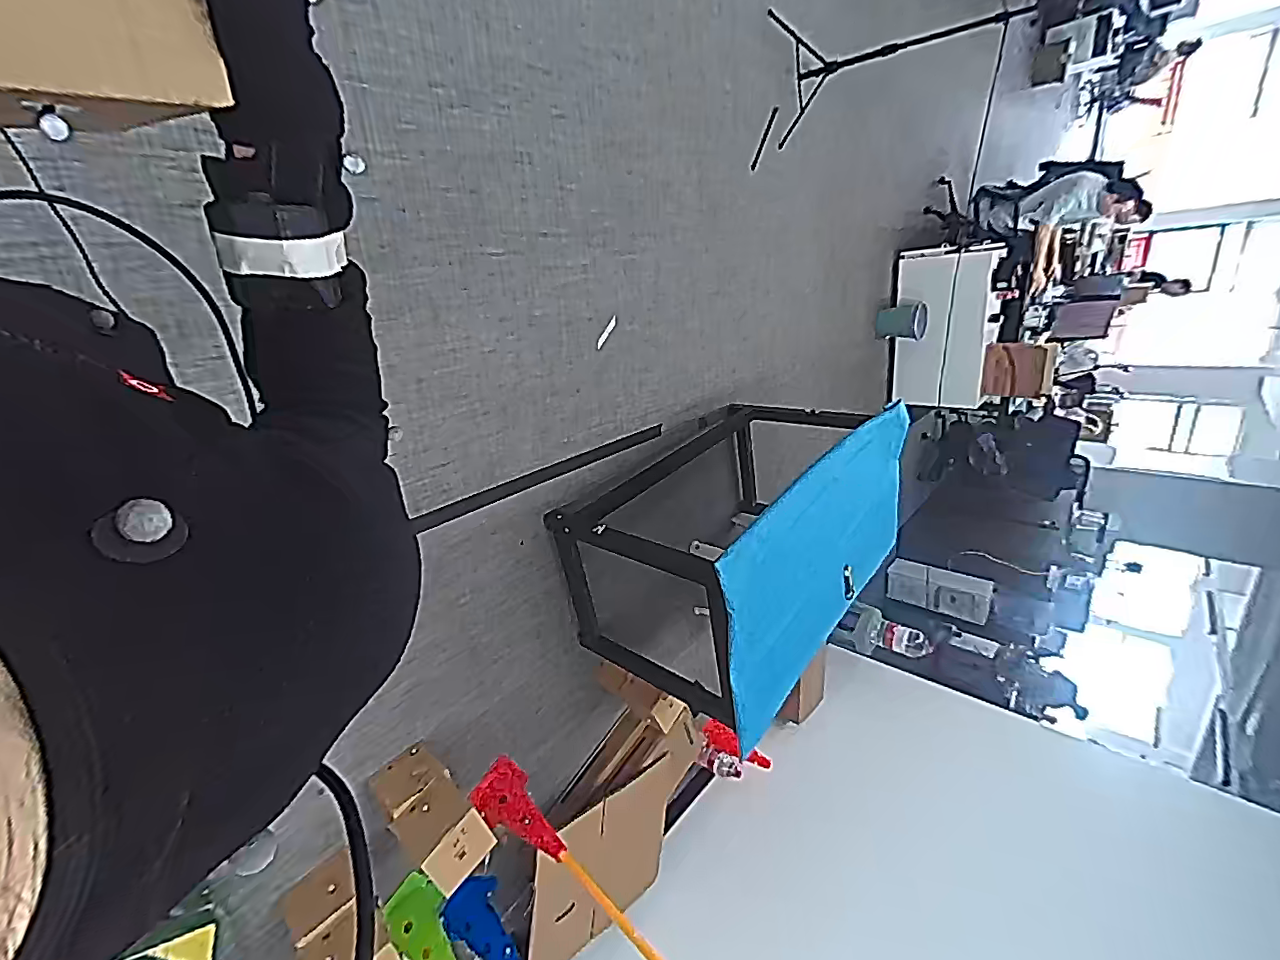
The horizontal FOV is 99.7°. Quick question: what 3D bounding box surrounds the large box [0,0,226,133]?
[{"bbox_3d":[-0.465,-0.308,0.182,0.408,0.320,0.320,-27,129,-40],"label":"large box"}]
